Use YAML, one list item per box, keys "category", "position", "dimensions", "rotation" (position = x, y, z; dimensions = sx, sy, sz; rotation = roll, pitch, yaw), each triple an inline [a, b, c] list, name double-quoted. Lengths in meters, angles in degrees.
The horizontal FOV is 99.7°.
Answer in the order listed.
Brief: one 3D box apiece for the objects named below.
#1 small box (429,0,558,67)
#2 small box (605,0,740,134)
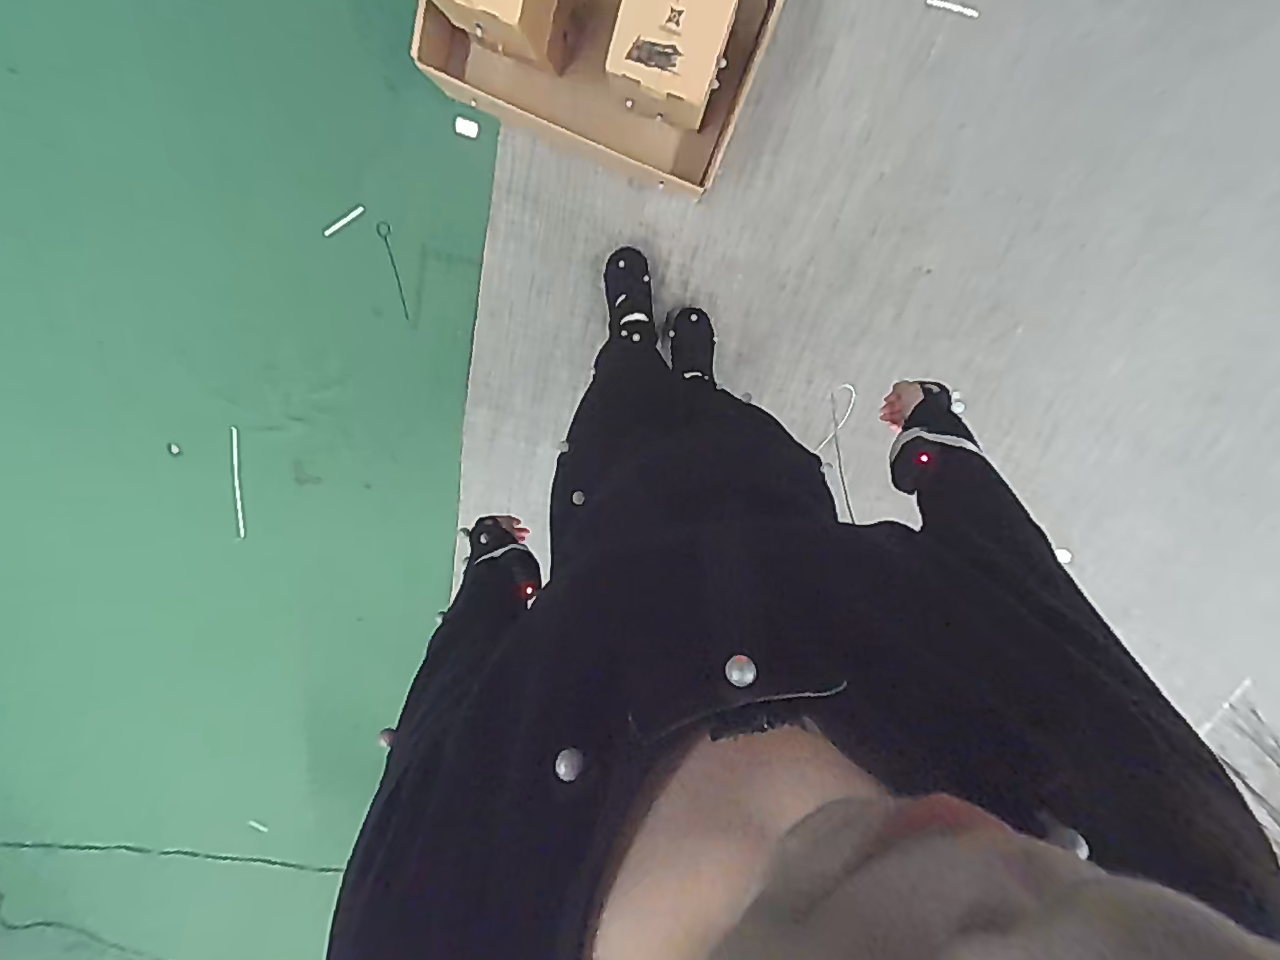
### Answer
- category: "small box"
  position: [-0.232, -0.822, 0.878]
  dimensions: [0.168, 0.176, 0.179]
  rotation: [20, 114, -6]
- category: "small box"
  position: [0.054, -0.713, 0.905]
  dimensions: [0.168, 0.176, 0.179]
  rotation: [19, 112, -5]
